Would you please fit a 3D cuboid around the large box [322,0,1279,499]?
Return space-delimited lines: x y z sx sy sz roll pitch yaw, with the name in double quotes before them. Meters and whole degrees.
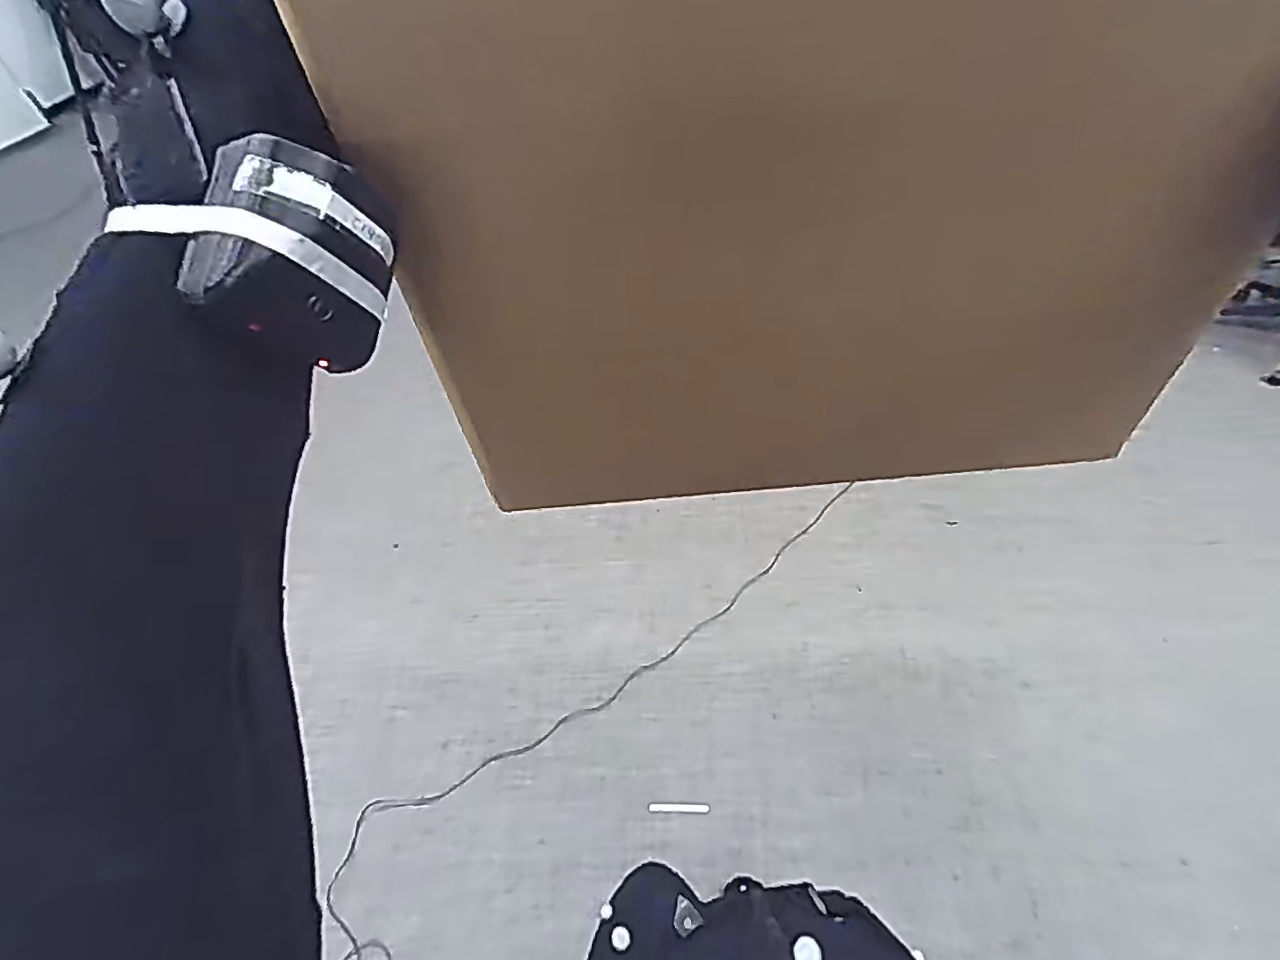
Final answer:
"large box" 0.081 -0.213 0.370 0.408 0.320 0.320 -5 45 2
